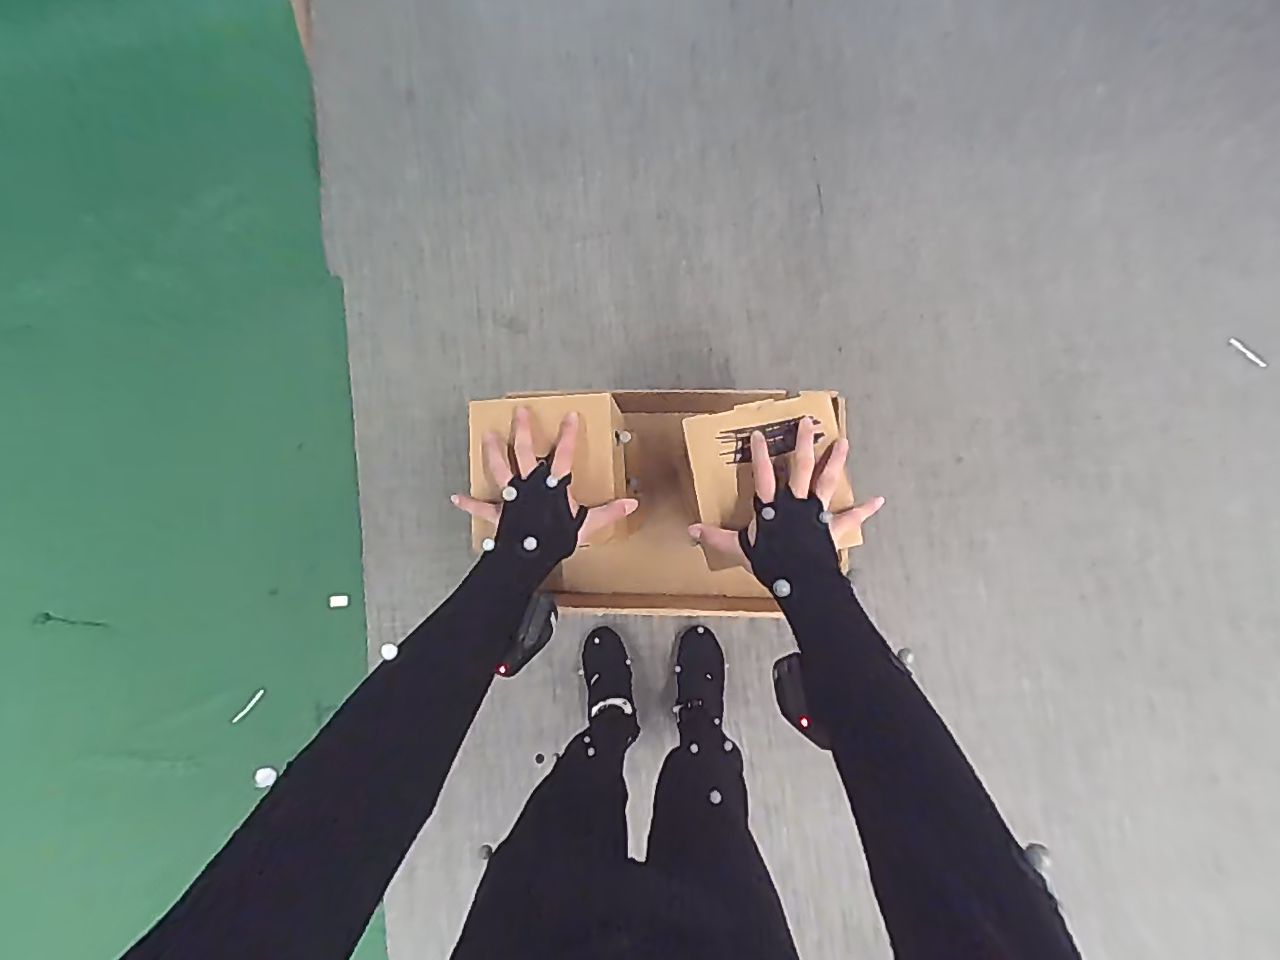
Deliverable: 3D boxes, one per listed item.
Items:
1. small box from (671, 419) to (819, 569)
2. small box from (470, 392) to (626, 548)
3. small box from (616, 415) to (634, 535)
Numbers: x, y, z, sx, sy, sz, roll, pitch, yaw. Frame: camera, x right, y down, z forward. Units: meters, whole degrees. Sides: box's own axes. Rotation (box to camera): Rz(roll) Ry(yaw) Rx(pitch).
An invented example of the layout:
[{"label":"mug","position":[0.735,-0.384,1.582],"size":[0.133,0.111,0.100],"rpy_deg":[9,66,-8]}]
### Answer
[{"label":"small box","position":[0.155,0.025,0.832],"size":[0.168,0.176,0.179],"rpy_deg":[-18,82,4]},{"label":"small box","position":[-0.109,-0.004,0.695],"size":[0.168,0.176,0.179],"rpy_deg":[-3,85,4]},{"label":"small box","position":[-0.100,0.003,0.858],"size":[0.168,0.176,0.179],"rpy_deg":[-3,85,4]}]
